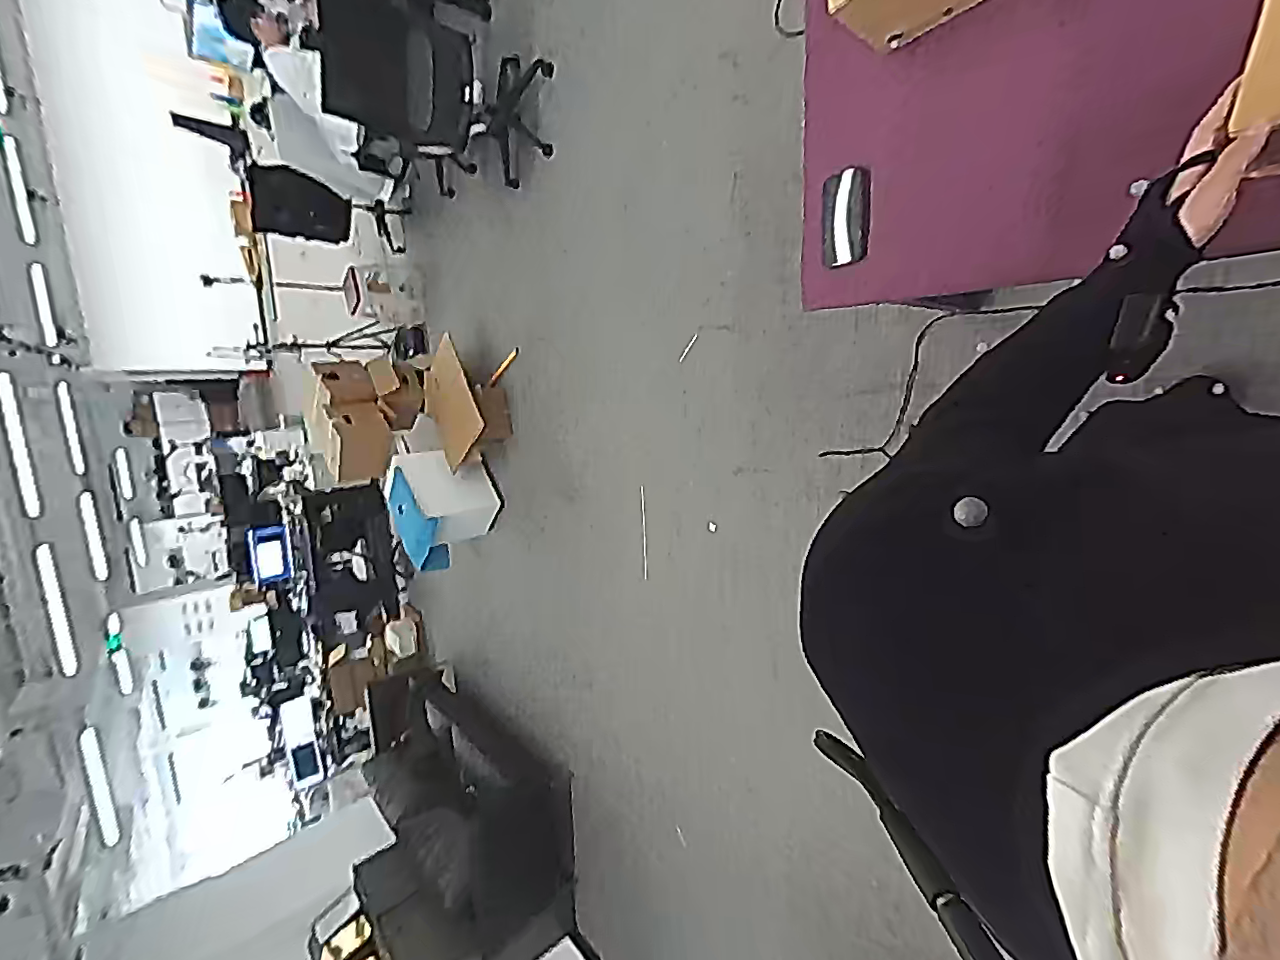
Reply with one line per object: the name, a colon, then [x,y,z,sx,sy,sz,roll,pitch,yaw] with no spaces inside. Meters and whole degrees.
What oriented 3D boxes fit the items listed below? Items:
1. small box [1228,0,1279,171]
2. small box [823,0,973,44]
small box: [0.627,-0.378,0.439,0.168,0.176,0.179,20,114,48]
small box: [0.365,-0.744,0.736,0.168,0.176,0.179,3,99,48]
